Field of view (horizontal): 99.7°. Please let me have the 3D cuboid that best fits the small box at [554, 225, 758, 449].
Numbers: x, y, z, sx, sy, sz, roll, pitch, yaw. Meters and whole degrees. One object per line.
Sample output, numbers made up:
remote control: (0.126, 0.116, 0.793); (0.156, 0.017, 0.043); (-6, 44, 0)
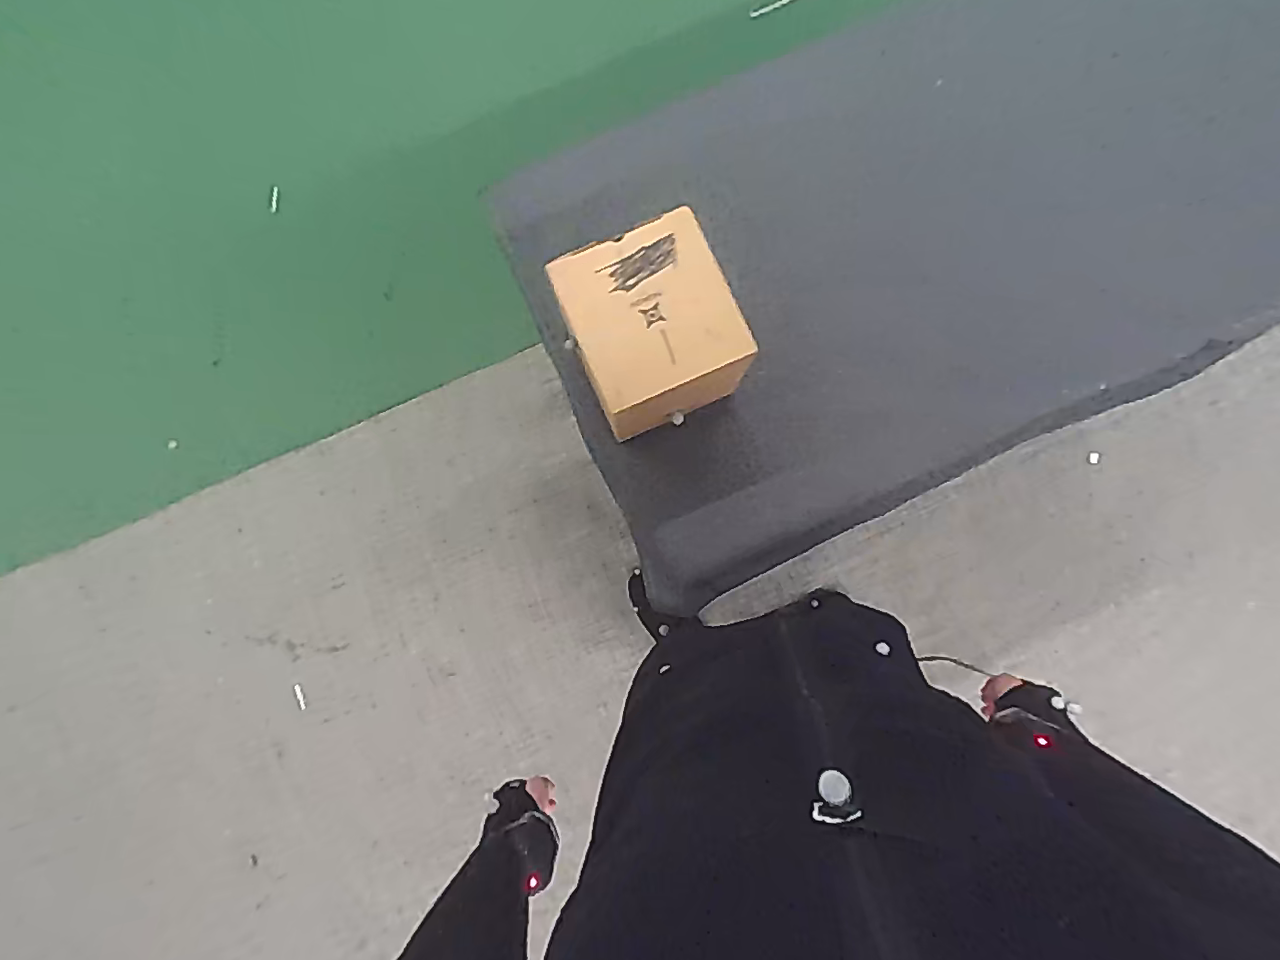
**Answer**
small box: (0.014, -0.154, 0.642); (0.168, 0.176, 0.179); (-24, 85, -2)
